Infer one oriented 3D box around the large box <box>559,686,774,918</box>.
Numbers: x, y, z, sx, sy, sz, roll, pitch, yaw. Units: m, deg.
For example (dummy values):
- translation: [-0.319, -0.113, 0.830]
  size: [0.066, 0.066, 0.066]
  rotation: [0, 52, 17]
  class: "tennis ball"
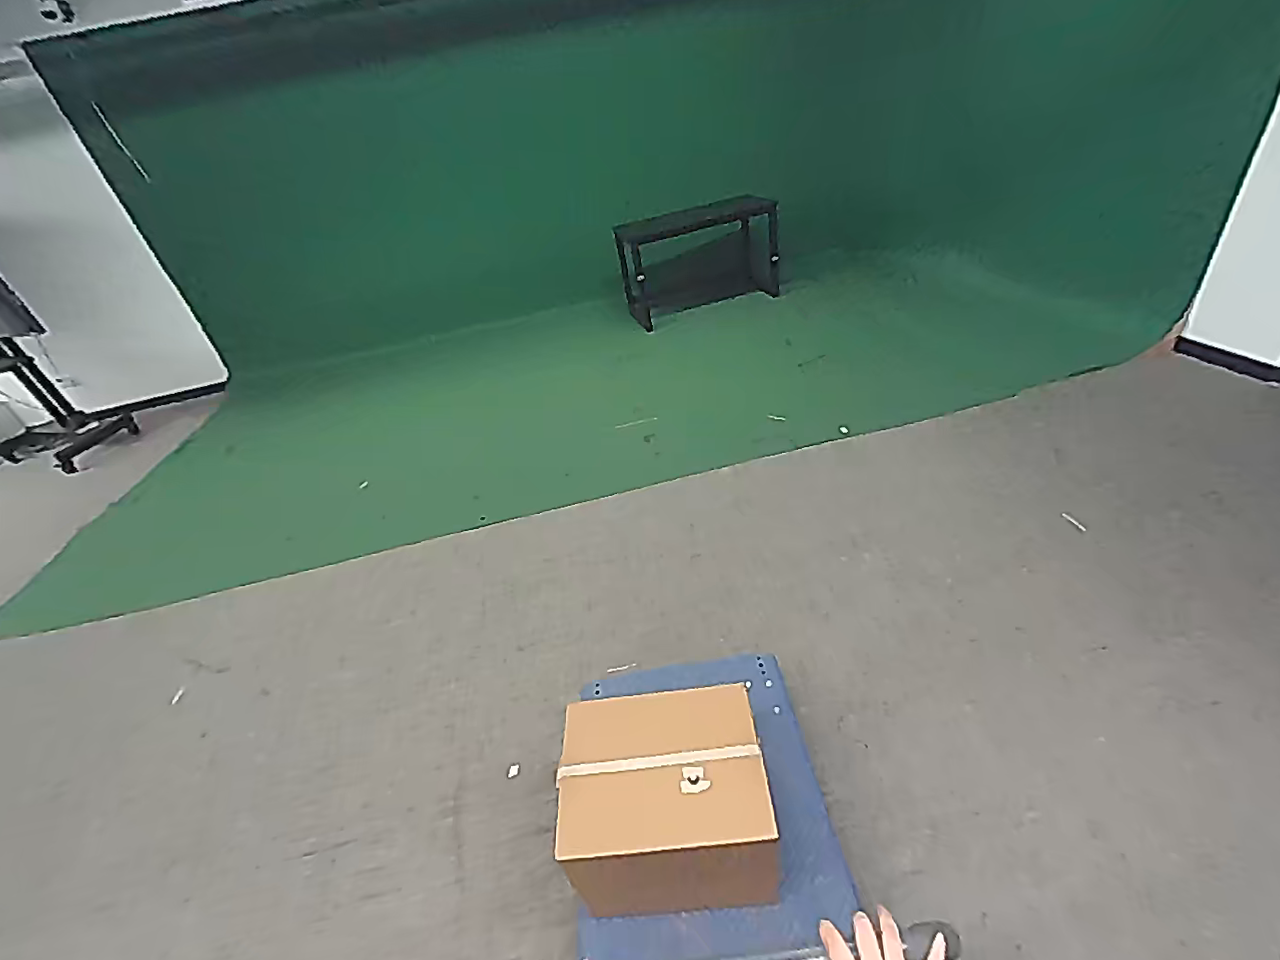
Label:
- translation: [0.058, 0.698, 1.181]
  size: [0.408, 0.320, 0.320]
  rotation: [-7, 35, 3]
  class: "large box"
